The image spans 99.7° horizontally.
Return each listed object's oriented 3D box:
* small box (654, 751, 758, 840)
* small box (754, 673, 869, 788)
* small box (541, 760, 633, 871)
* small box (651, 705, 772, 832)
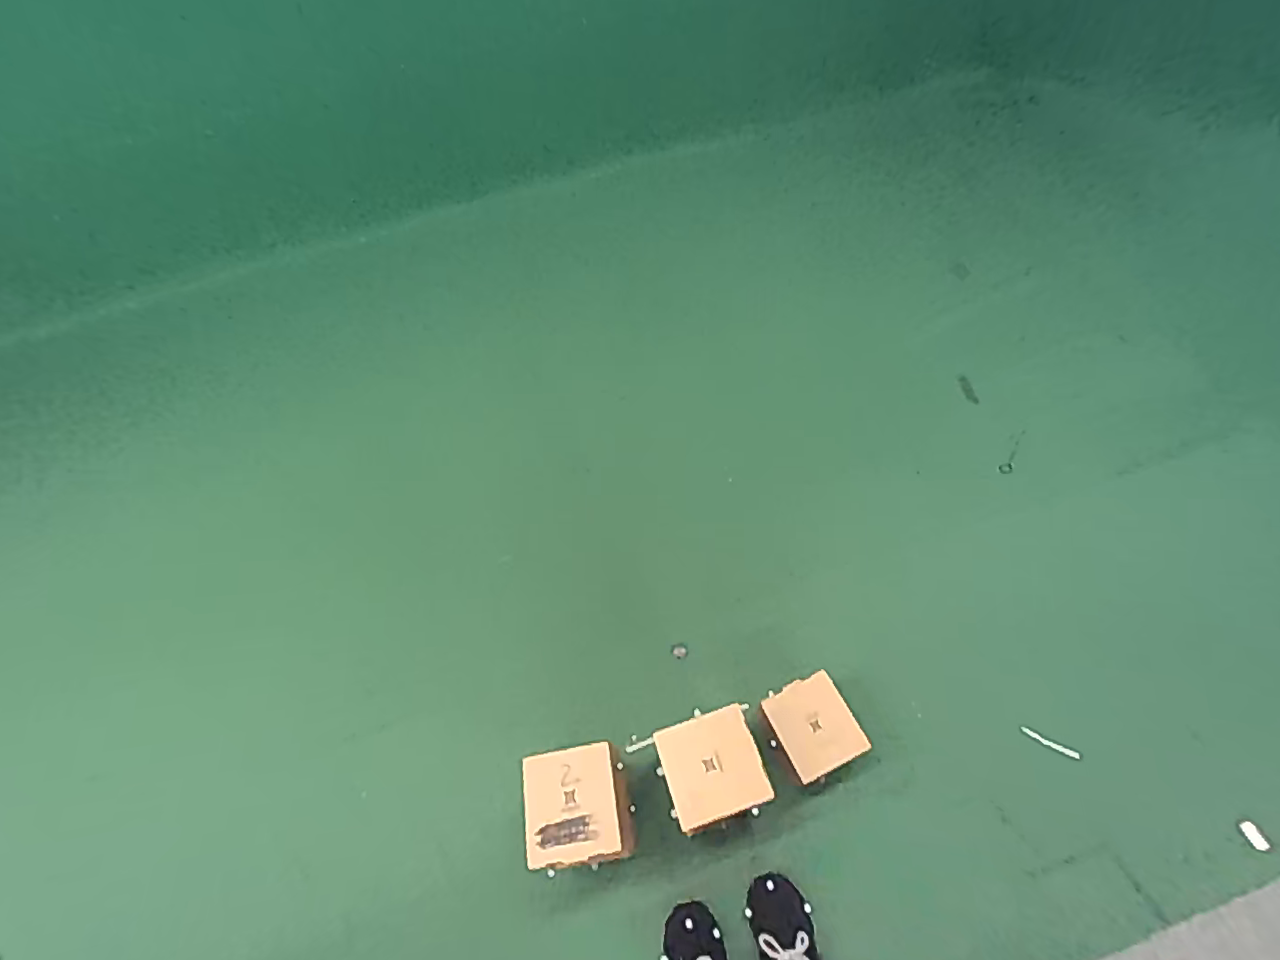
[{"bbox_3d":[0.139,0.647,1.169,0.168,0.176,0.179,-20,58,-7],"label":"small box"},{"bbox_3d":[0.369,0.561,1.203,0.168,0.176,0.179,-22,59,-8],"label":"small box"},{"bbox_3d":[-0.110,0.712,1.151,0.168,0.176,0.179,-9,59,0],"label":"small box"},{"bbox_3d":[0.133,0.555,1.034,0.179,0.176,0.168,-17,58,-6],"label":"small box"}]
